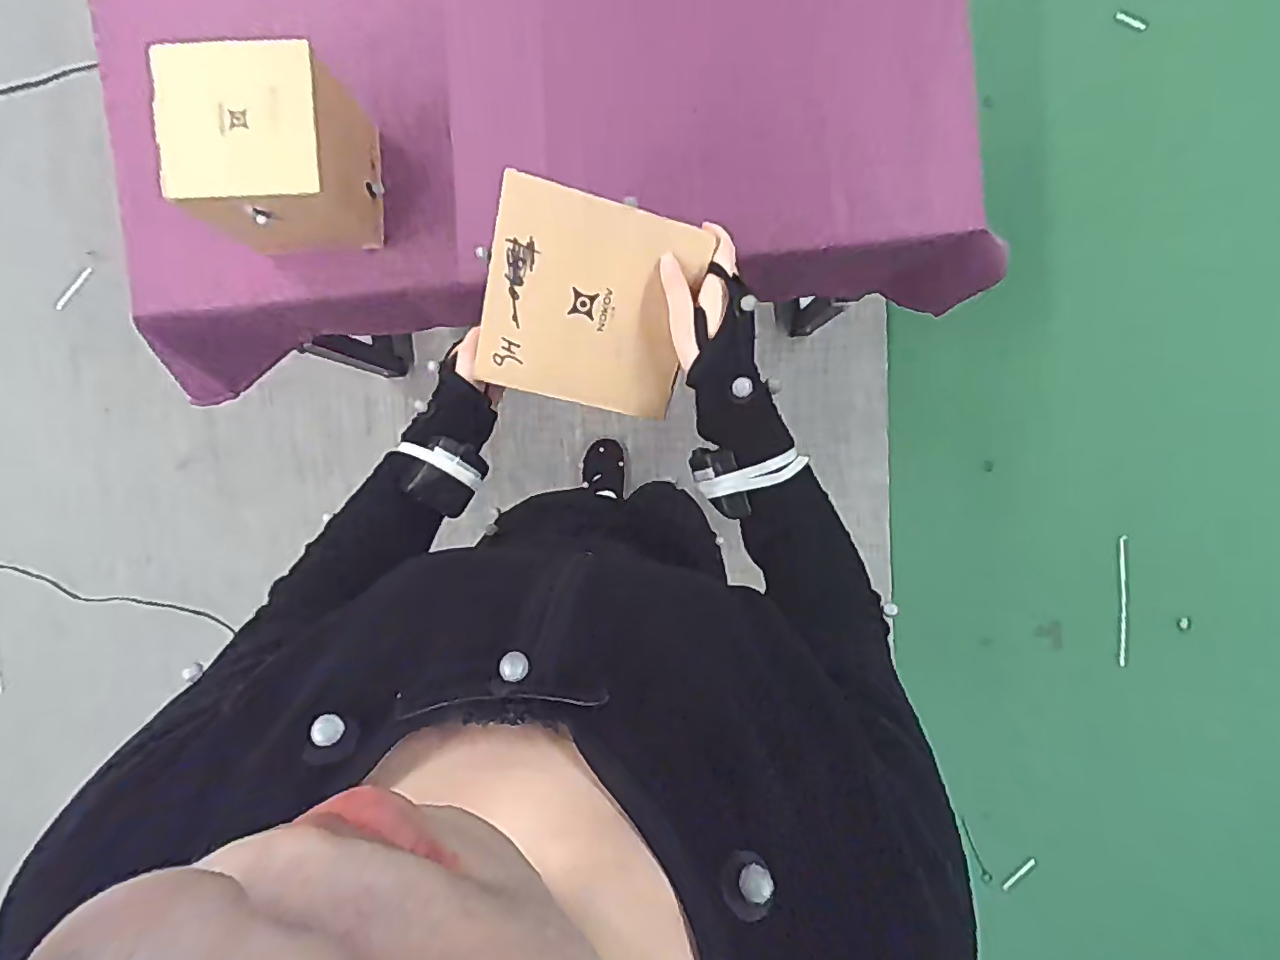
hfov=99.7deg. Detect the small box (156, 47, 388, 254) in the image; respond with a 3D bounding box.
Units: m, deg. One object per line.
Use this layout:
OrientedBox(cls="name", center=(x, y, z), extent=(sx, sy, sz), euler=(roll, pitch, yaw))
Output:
OrientedBox(cls="small box", center=(-0.442, -0.394, 0.675), extent=(0.179, 0.176, 0.168), euler=(-2, 93, -1))
